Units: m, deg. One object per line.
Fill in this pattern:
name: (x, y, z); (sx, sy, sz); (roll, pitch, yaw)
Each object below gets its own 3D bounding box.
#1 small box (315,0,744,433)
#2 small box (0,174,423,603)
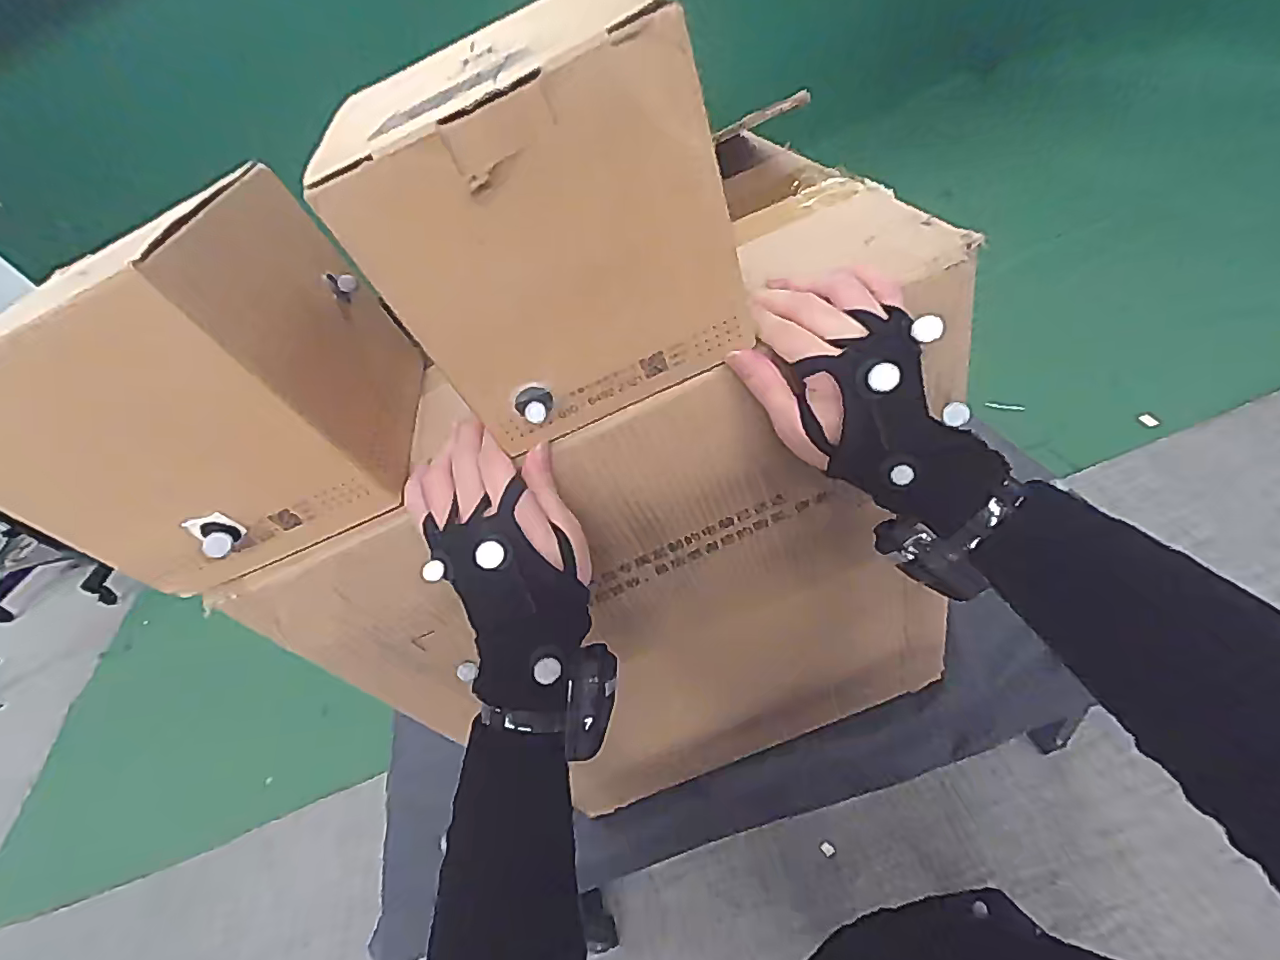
small box: (-0.053, -0.151, 0.328); (0.168, 0.176, 0.179); (-24, 45, 3)
small box: (-0.262, -0.055, 0.346); (0.168, 0.176, 0.179); (-26, 44, 6)
